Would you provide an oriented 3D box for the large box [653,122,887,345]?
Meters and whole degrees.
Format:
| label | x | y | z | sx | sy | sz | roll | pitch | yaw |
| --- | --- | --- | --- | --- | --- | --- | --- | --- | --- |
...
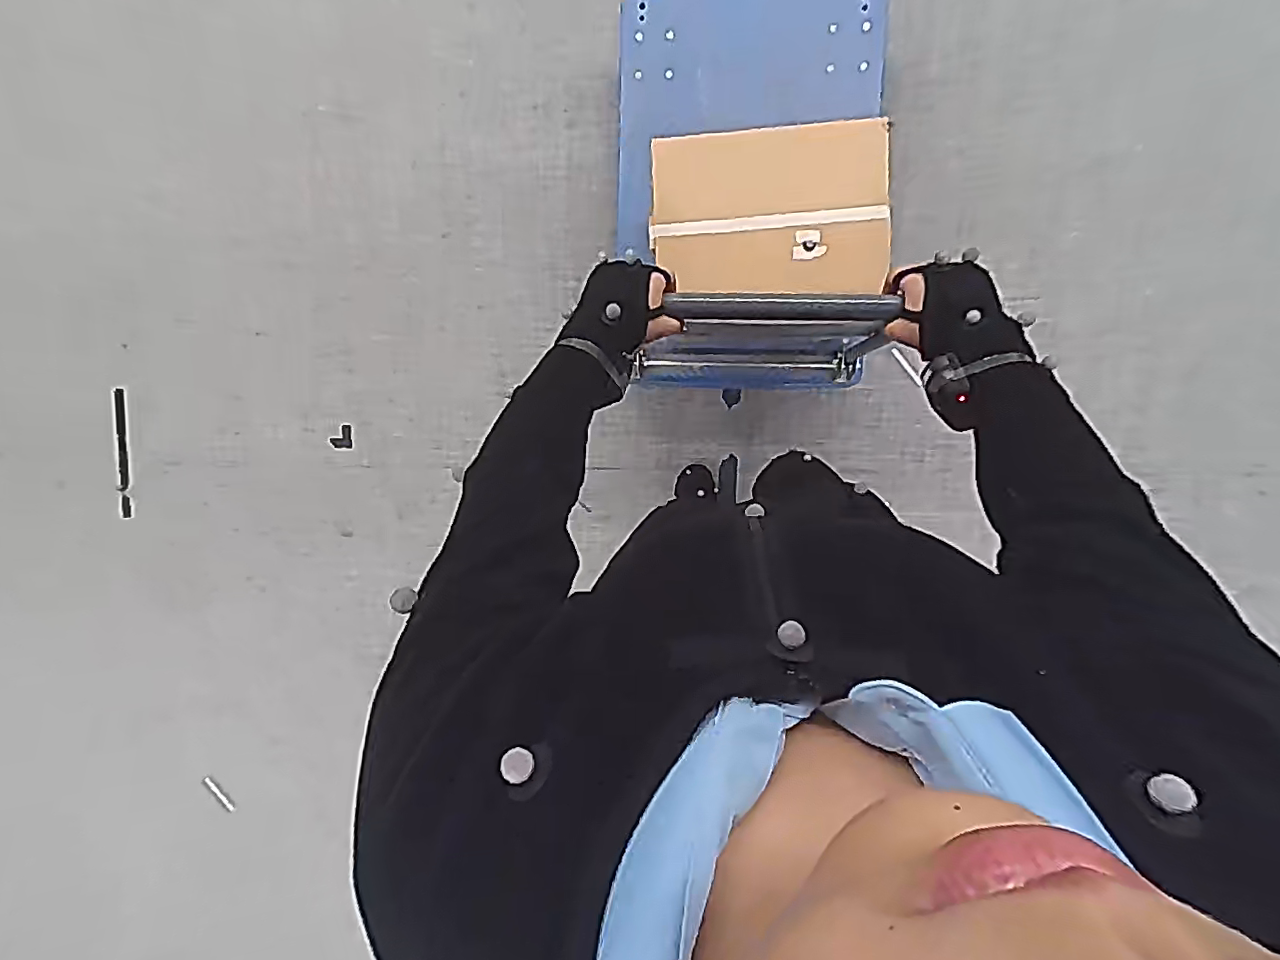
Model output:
| label | x | y | z | sx | sy | sz | roll | pitch | yaw |
| --- | --- | --- | --- | --- | --- | --- | --- | --- | --- |
| large box | 0.240 | -0.466 | 1.102 | 0.408 | 0.320 | 0.320 | -2 | 97 | 5 |
